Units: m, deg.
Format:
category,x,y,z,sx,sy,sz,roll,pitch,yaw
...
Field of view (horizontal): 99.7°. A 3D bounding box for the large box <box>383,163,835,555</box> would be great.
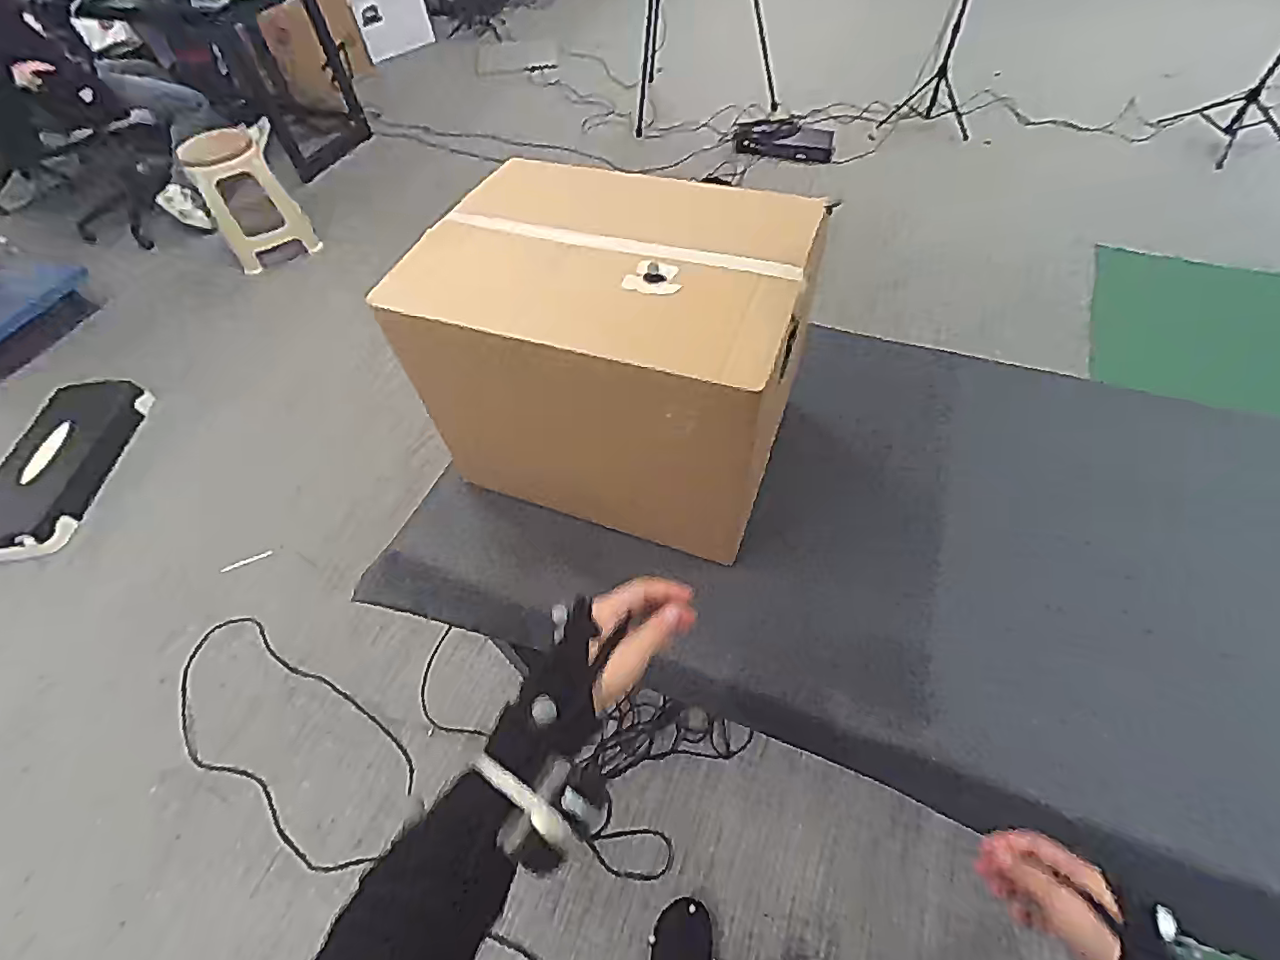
category,x,y,z,sx,sy,sz,roll,pitch,yaw
large box,-0.015,-0.153,0.689,0.408,0.320,0.320,16,58,14
